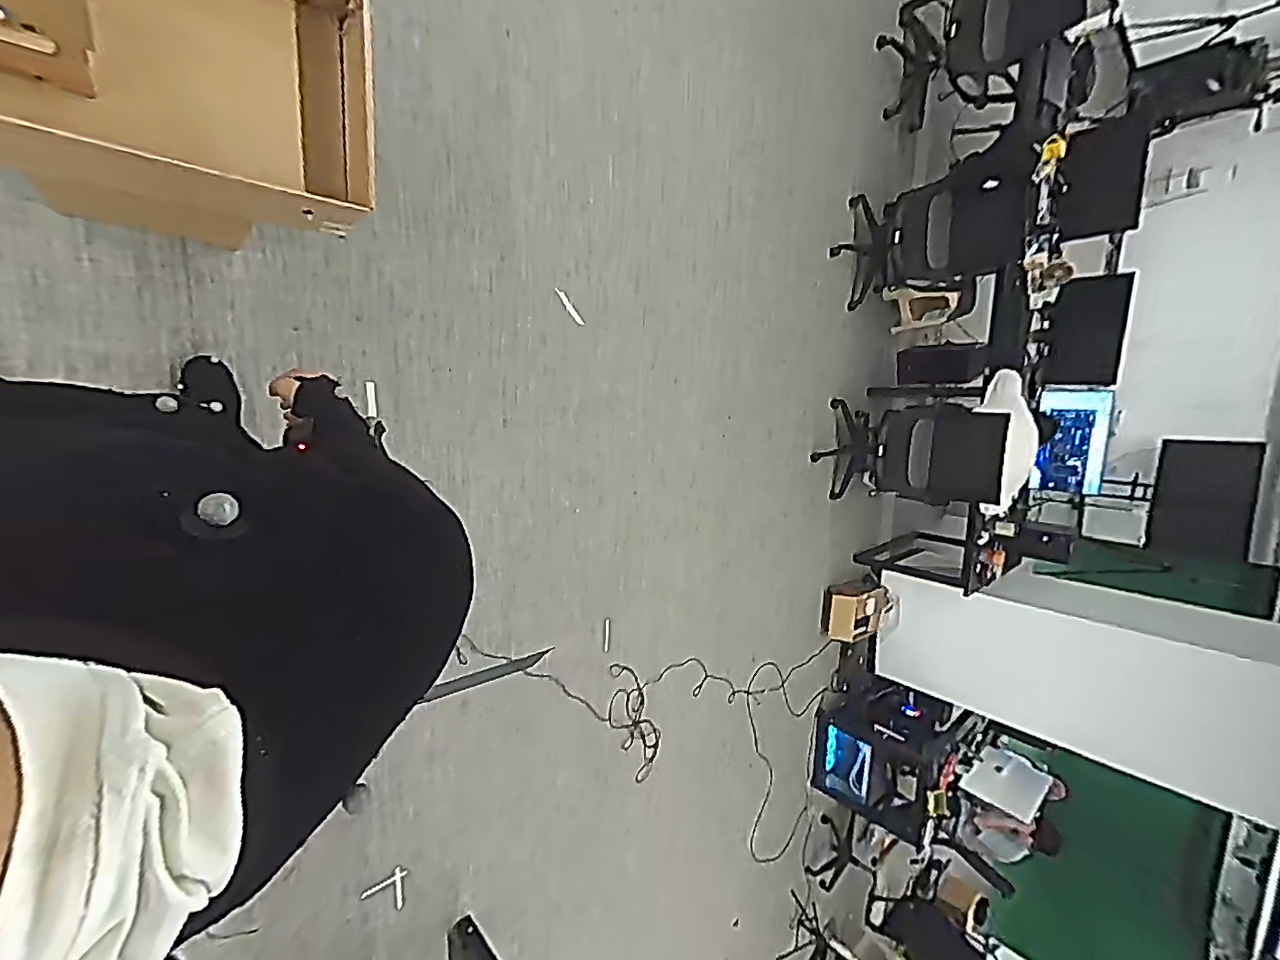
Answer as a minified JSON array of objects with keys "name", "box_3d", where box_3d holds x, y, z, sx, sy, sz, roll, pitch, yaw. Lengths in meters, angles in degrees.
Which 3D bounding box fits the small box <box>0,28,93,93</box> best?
[{"name":"small box","box_3d":[-0.854,-0.659,0.714,0.168,0.176,0.179,-6,100,-41]}]

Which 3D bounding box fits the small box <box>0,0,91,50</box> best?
[{"name":"small box","box_3d":[-0.739,-0.637,0.598,0.168,0.176,0.179,-8,102,-41]}]
